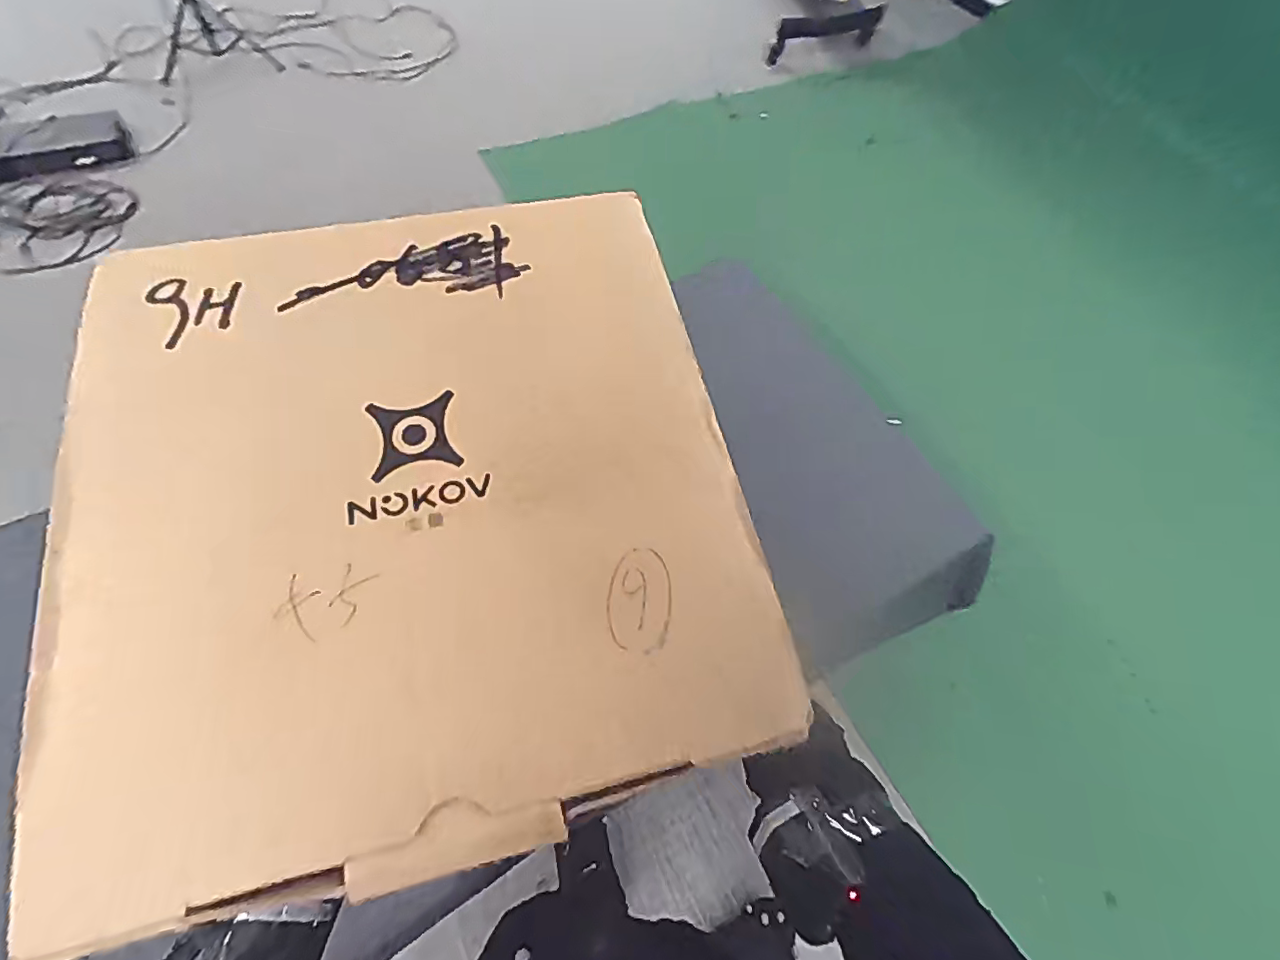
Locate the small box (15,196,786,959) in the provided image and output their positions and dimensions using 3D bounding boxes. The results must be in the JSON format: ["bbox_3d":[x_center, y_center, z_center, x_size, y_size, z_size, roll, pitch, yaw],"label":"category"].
[{"bbox_3d":[-0.067,0.028,0.217,0.168,0.176,0.179,-12,70,-9],"label":"small box"}]
